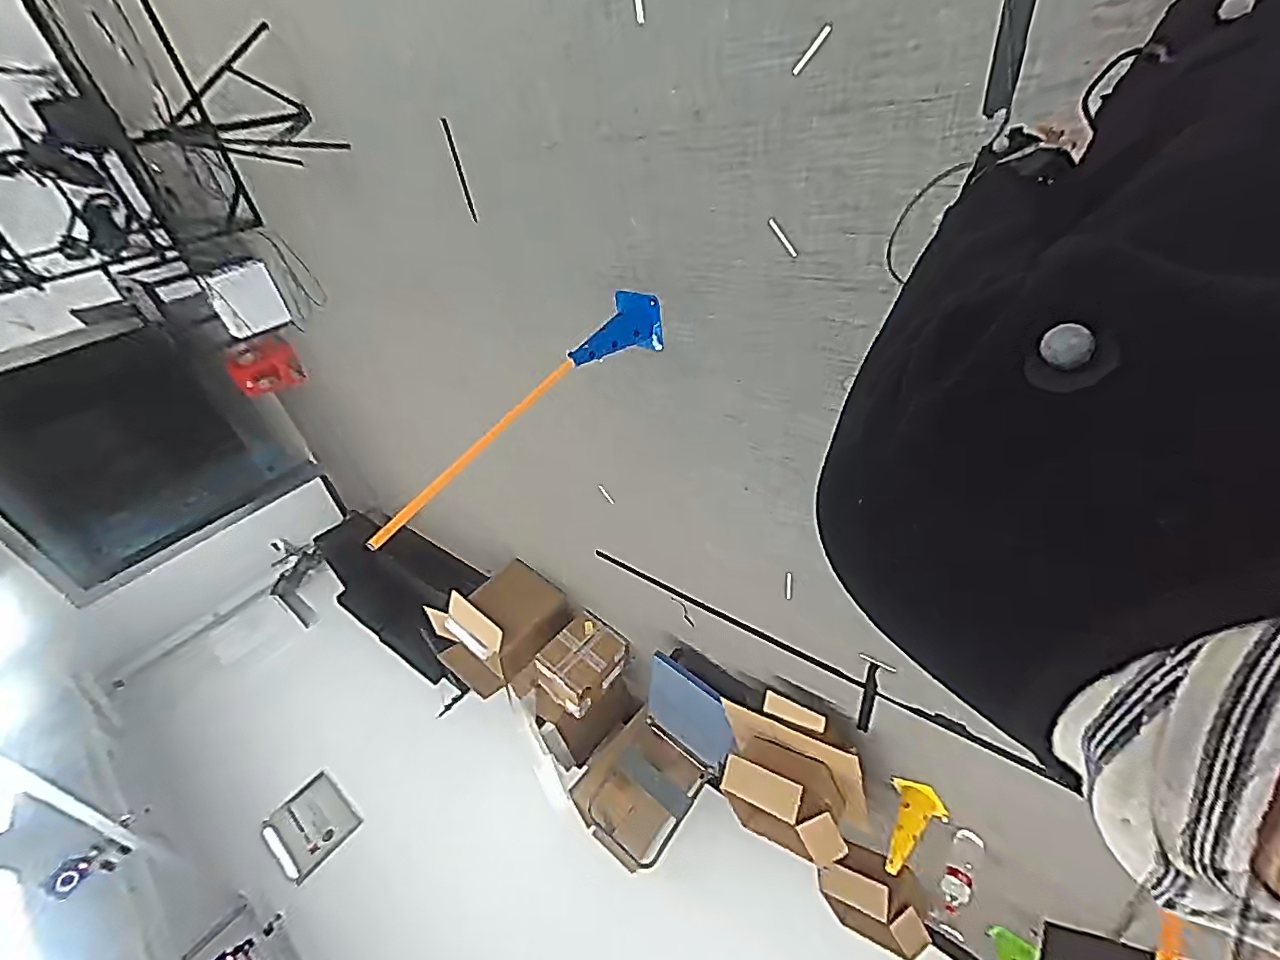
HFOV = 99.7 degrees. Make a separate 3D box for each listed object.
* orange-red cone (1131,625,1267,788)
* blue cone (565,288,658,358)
[{"bbox_3d":[1.286,0.555,1.261,0.198,0.360,0.199,24,139,33],"label":"orange-red cone"},{"bbox_3d":[-0.113,-0.498,1.847,0.193,0.380,0.192,23,137,32],"label":"blue cone"}]
